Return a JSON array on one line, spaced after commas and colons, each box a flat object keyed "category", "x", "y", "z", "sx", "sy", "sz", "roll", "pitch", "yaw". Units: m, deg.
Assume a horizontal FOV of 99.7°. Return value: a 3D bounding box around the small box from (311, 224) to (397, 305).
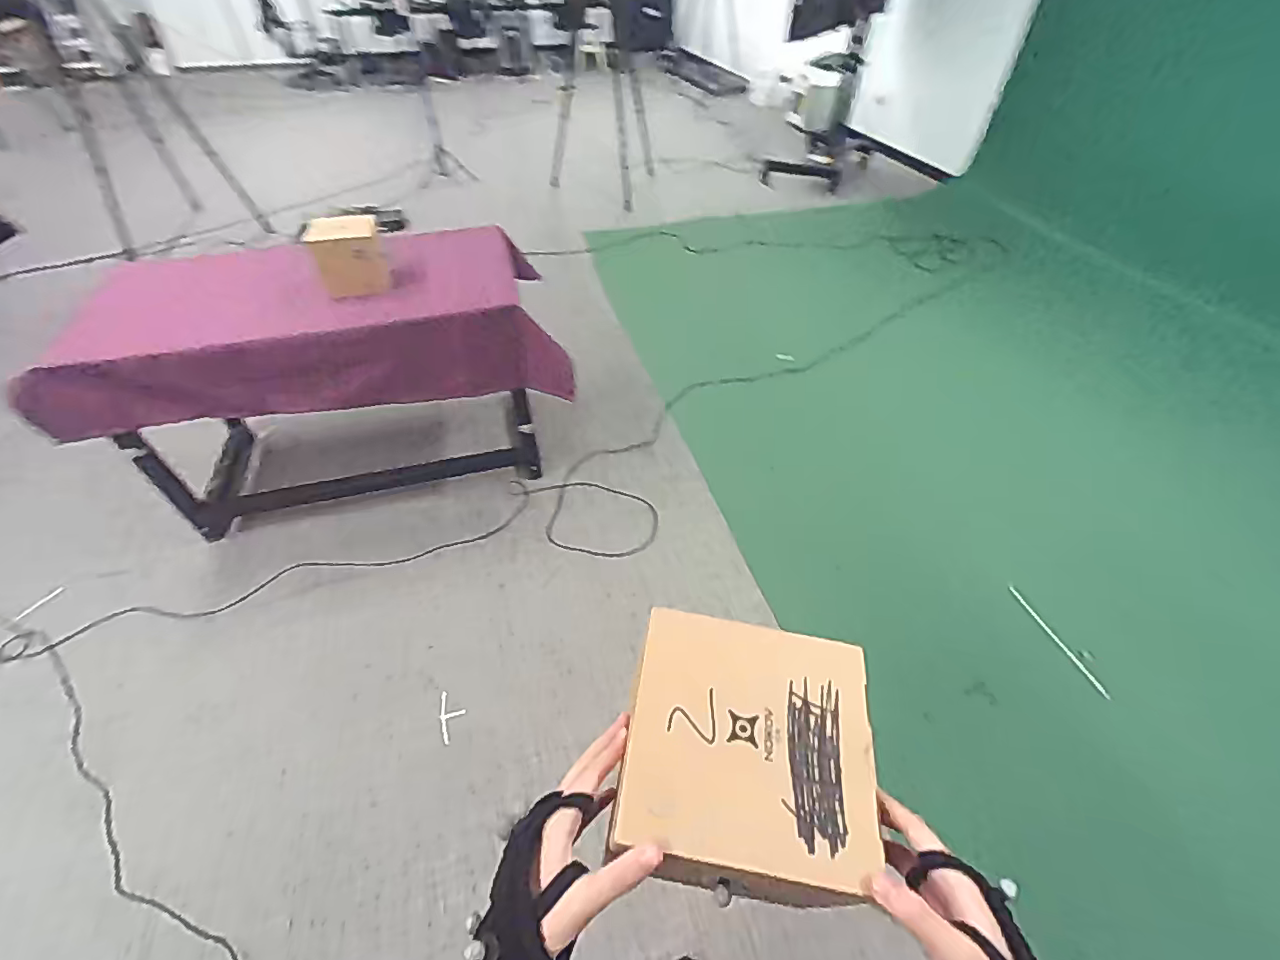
[{"category": "small box", "x": -0.836, "y": -0.637, "z": 1.602, "sx": 0.179, "sy": 0.176, "sz": 0.168, "roll": -10, "pitch": 46, "yaw": -10}]
